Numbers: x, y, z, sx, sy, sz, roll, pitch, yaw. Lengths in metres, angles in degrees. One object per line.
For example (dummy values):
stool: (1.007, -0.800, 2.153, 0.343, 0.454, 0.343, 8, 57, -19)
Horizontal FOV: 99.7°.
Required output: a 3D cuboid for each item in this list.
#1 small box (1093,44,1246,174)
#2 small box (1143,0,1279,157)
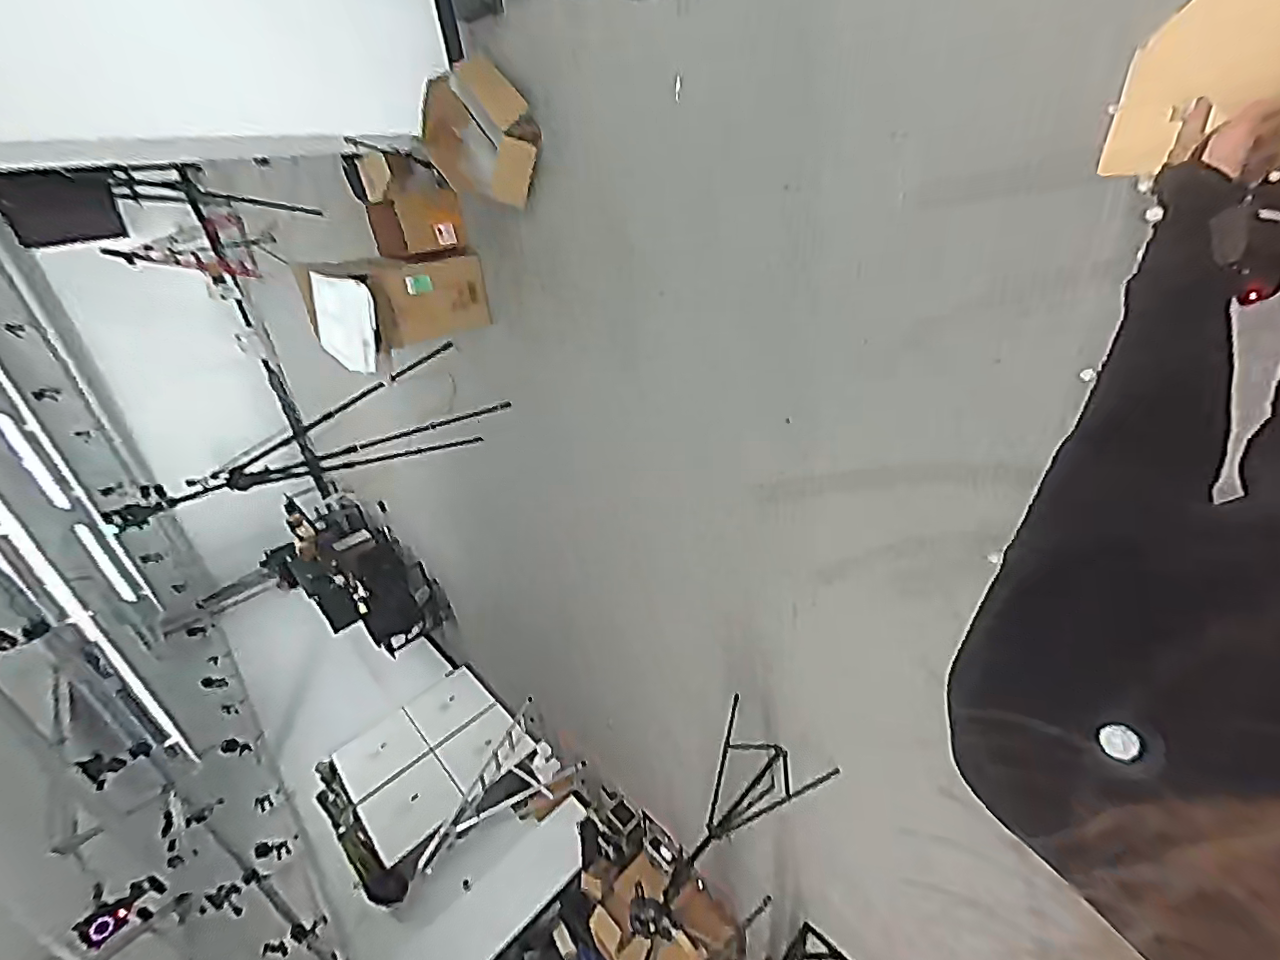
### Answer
small box: (0.884, -0.605, 0.875, 0.168, 0.176, 0.179, 26, 133, 40)
small box: (0.619, -0.427, 0.487, 0.179, 0.176, 0.168, 51, 145, 10)
